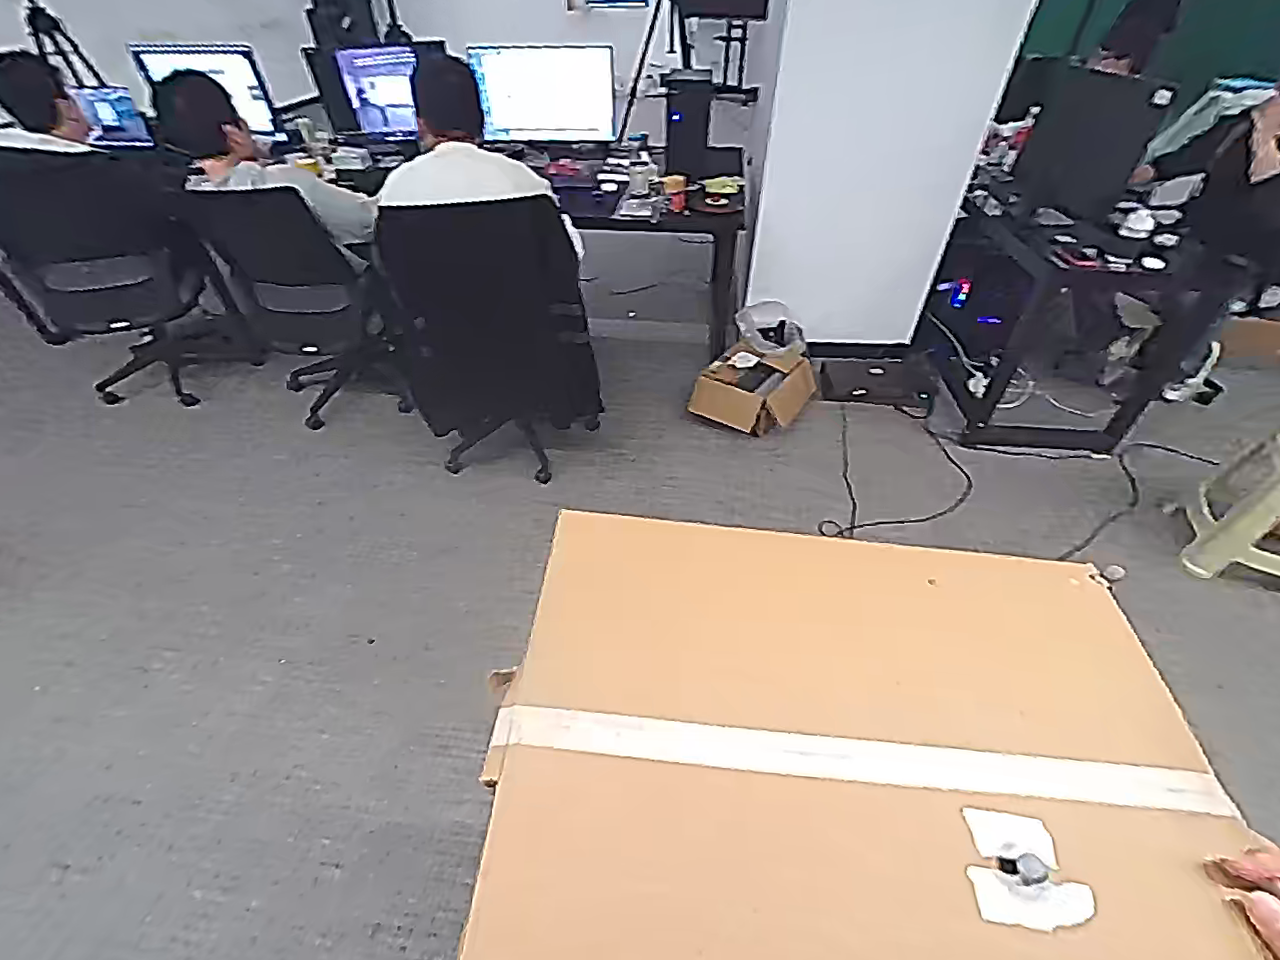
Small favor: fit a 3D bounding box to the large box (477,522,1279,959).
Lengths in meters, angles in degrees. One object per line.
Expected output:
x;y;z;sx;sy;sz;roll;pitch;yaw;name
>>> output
0.115;0.262;0.426;0.408;0.320;0.320;6;49;-1;large box
